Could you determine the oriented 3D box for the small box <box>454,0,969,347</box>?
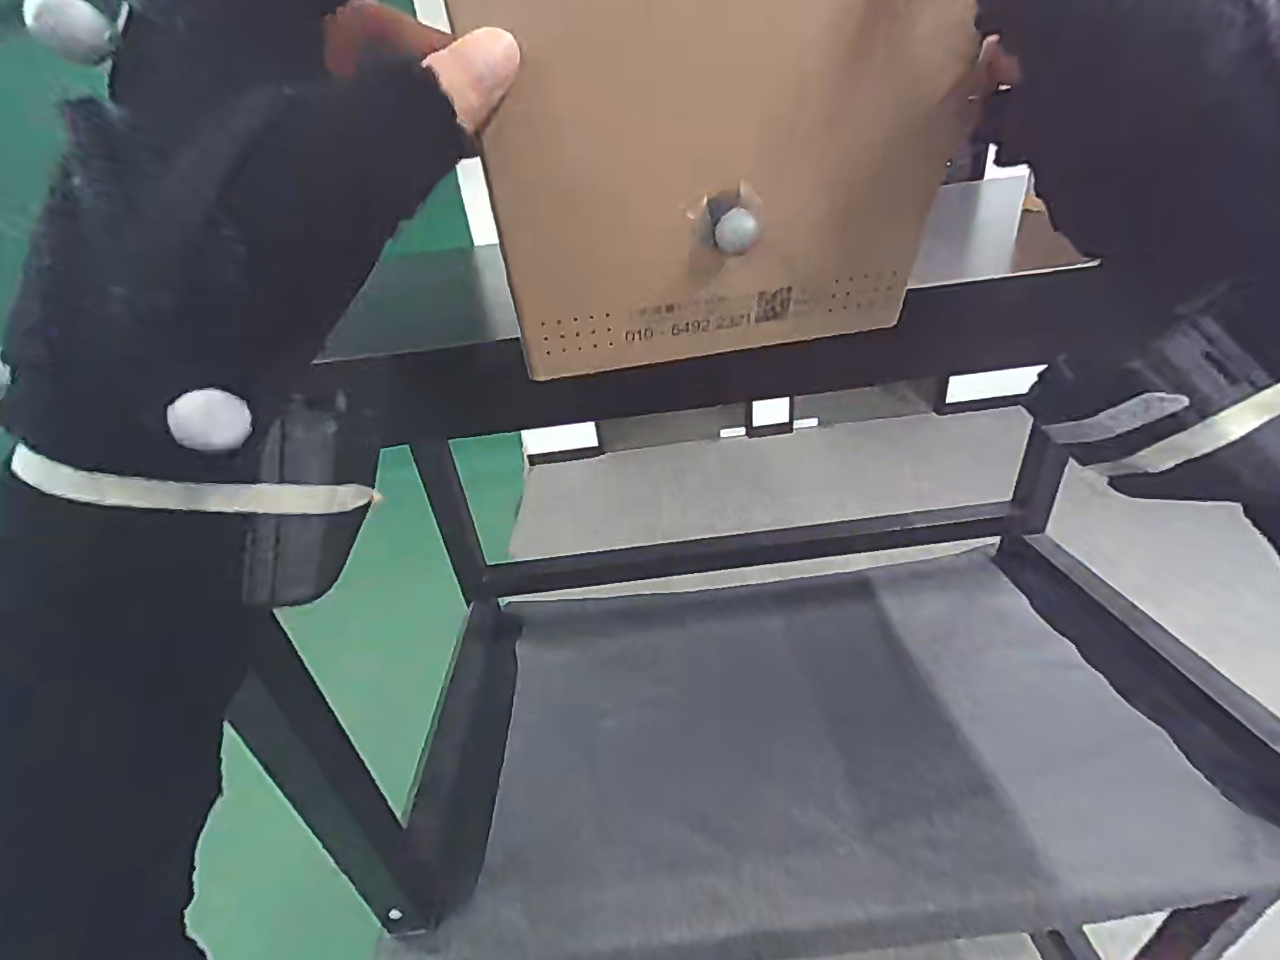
[{"bbox_3d":[0.013,-0.181,0.243,0.168,0.176,0.179,-10,44,-5],"label":"small box"}]
